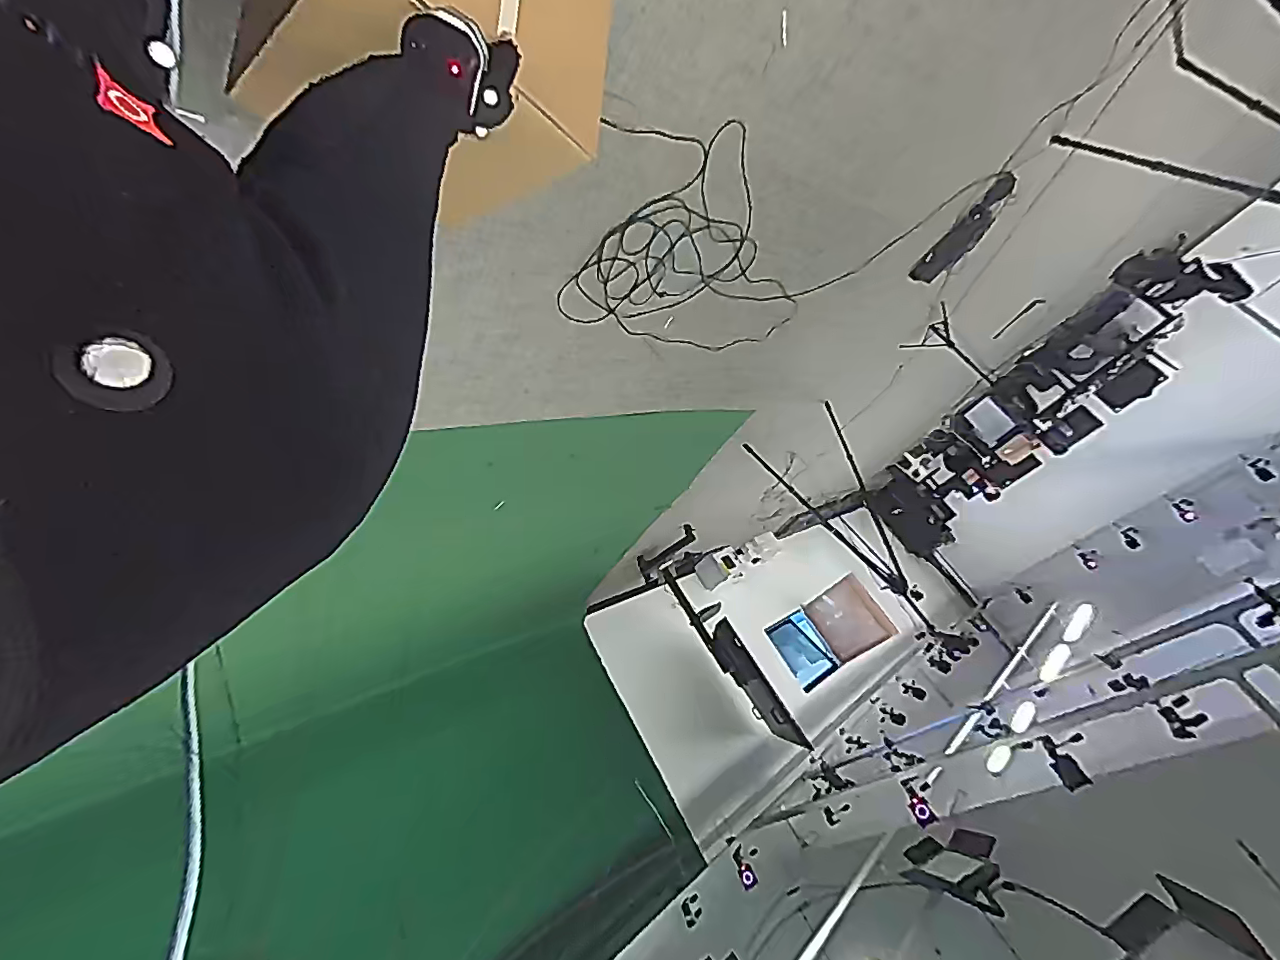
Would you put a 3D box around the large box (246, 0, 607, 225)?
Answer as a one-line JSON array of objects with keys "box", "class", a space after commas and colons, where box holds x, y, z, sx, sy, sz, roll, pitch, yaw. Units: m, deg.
[{"box": [-0.257, -0.624, 0.693, 0.320, 0.408, 0.320, 0, 172, 37], "class": "large box"}]
